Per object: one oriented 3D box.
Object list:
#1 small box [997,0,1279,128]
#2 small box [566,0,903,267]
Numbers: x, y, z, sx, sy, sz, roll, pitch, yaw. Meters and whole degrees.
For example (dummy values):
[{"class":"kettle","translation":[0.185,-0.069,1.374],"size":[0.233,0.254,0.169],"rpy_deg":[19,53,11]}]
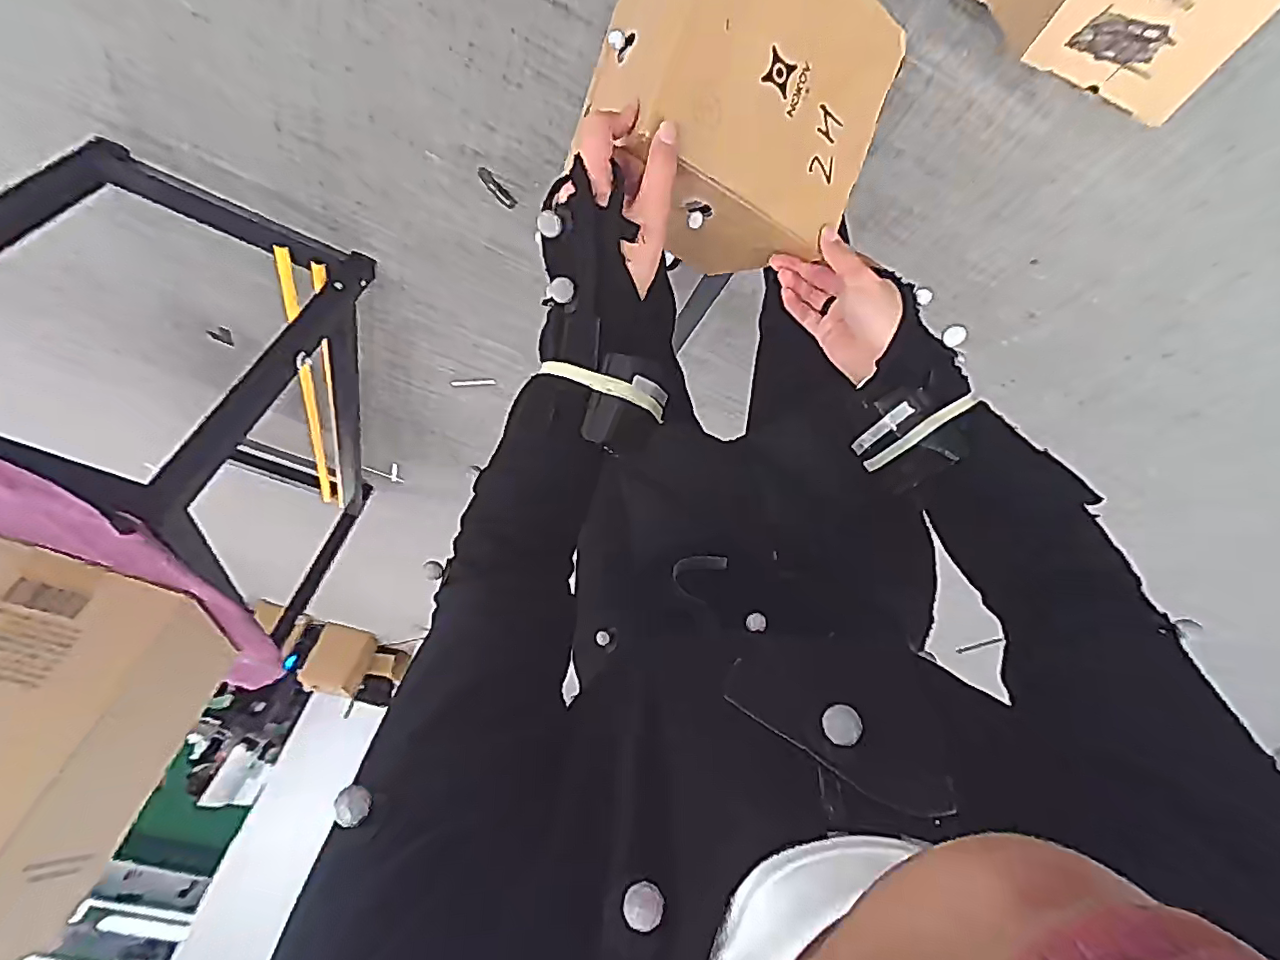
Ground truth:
[{"class":"small box","translation":[0.475,-0.486,0.507],"size":[0.168,0.176,0.179],"rpy_deg":[19,144,-9]},{"class":"small box","translation":[0.060,-0.287,0.434],"size":[0.179,0.168,0.176],"rpy_deg":[17,-173,-29]}]
